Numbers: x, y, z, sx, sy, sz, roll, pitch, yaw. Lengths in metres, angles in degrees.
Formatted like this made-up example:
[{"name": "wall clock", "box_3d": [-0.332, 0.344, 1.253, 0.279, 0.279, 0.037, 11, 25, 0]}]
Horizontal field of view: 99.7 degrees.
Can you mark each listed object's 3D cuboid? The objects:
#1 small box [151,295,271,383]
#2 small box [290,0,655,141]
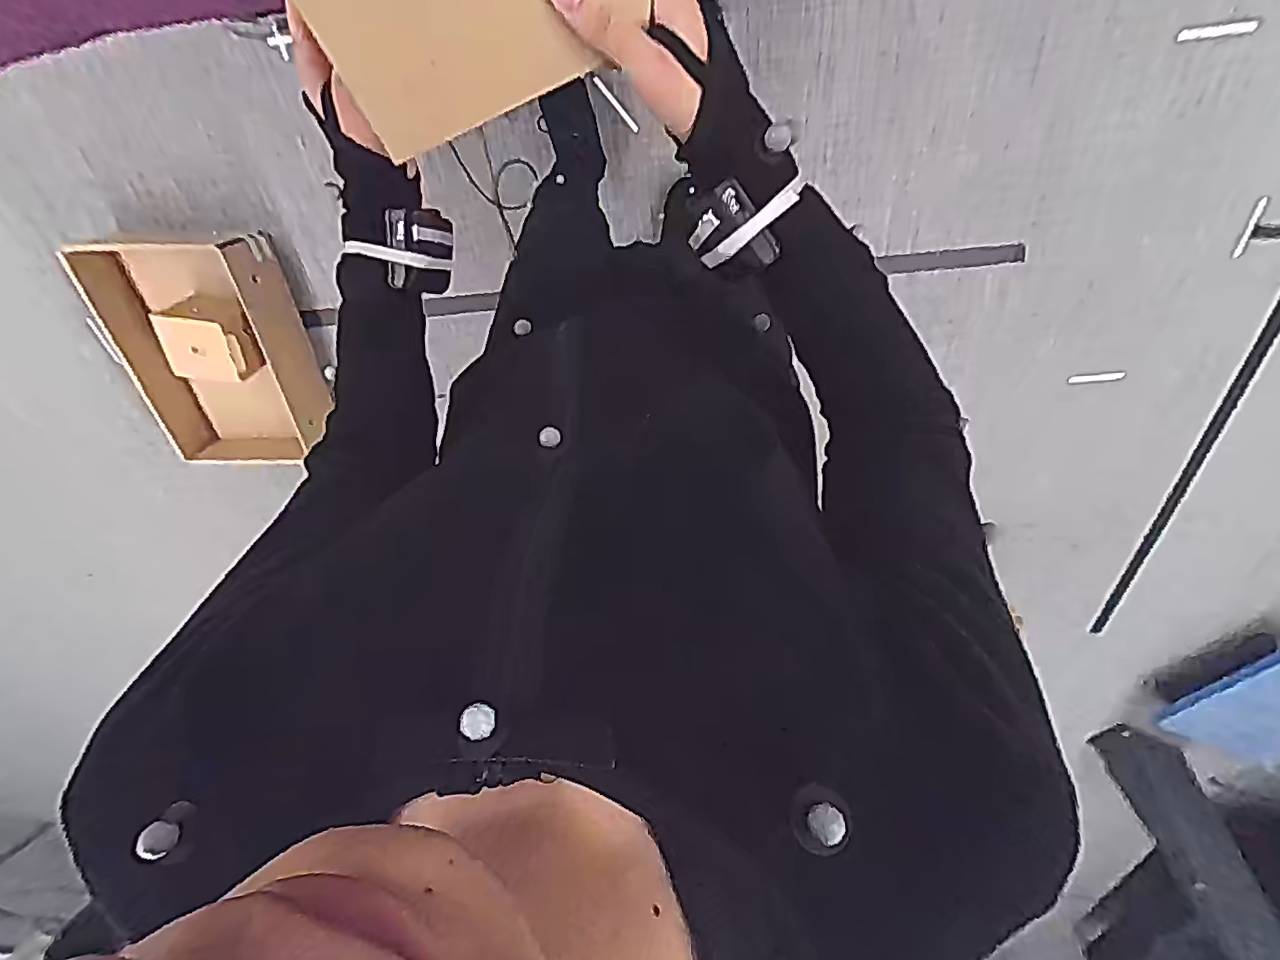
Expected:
[{"name": "small box", "box_3d": [-1.120, -0.378, 1.436, 0.179, 0.176, 0.168, 6, 127, -3]}, {"name": "small box", "box_3d": [-0.113, -0.328, 0.298, 0.179, 0.176, 0.168, -23, 139, 2]}]
